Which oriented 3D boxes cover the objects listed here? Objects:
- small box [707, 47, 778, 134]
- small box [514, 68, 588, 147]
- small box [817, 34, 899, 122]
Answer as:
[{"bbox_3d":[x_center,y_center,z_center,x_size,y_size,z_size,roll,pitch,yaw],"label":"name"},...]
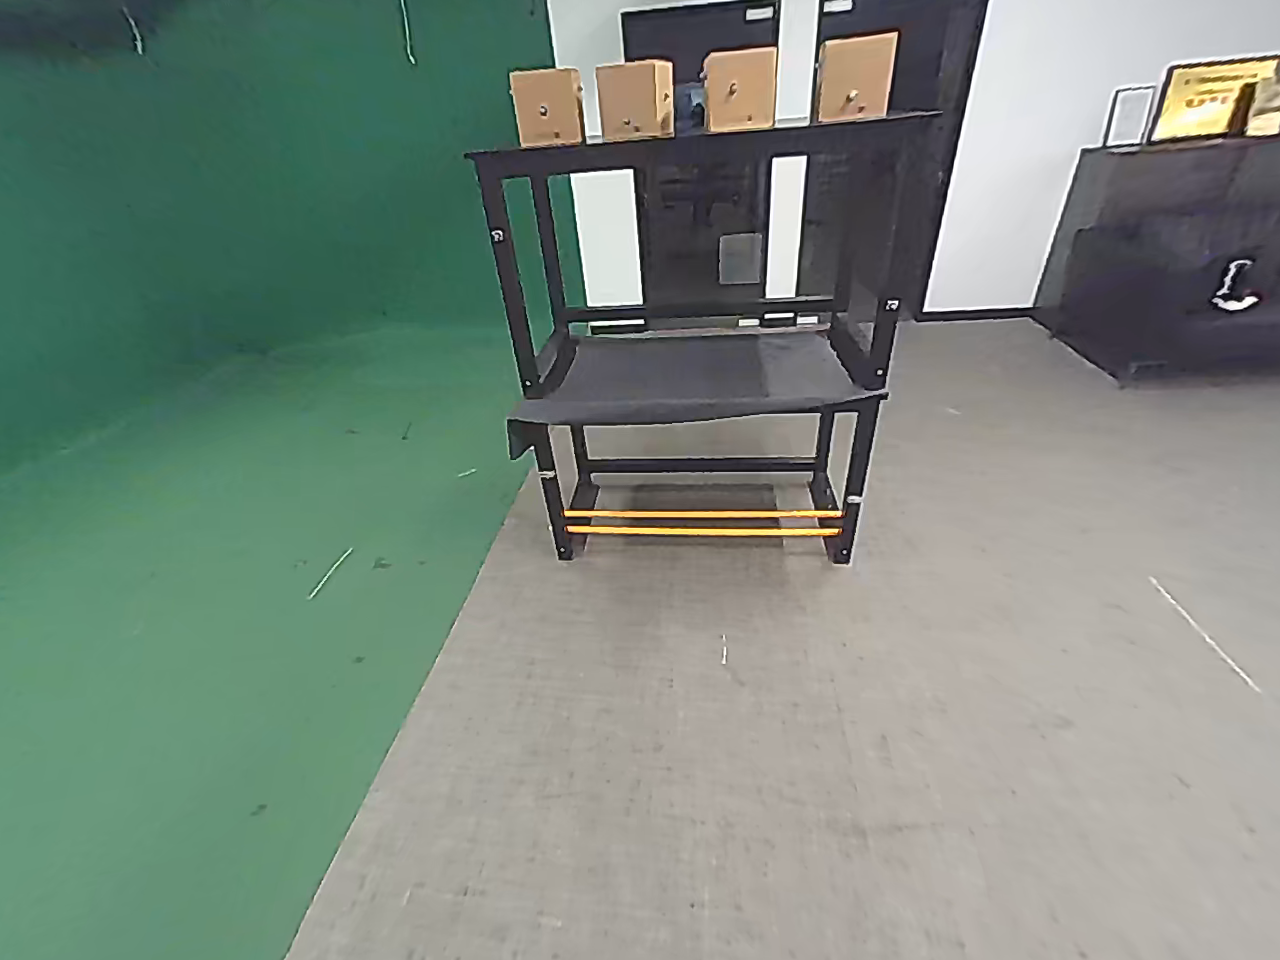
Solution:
[{"bbox_3d":[0.269,-1.034,1.445,0.168,0.176,0.179,-3,33,3],"label":"small box"},{"bbox_3d":[-0.241,-1.038,1.516,0.168,0.176,0.179,-2,34,3],"label":"small box"},{"bbox_3d":[0.560,-1.042,1.412,0.168,0.176,0.179,2,35,12],"label":"small box"}]
